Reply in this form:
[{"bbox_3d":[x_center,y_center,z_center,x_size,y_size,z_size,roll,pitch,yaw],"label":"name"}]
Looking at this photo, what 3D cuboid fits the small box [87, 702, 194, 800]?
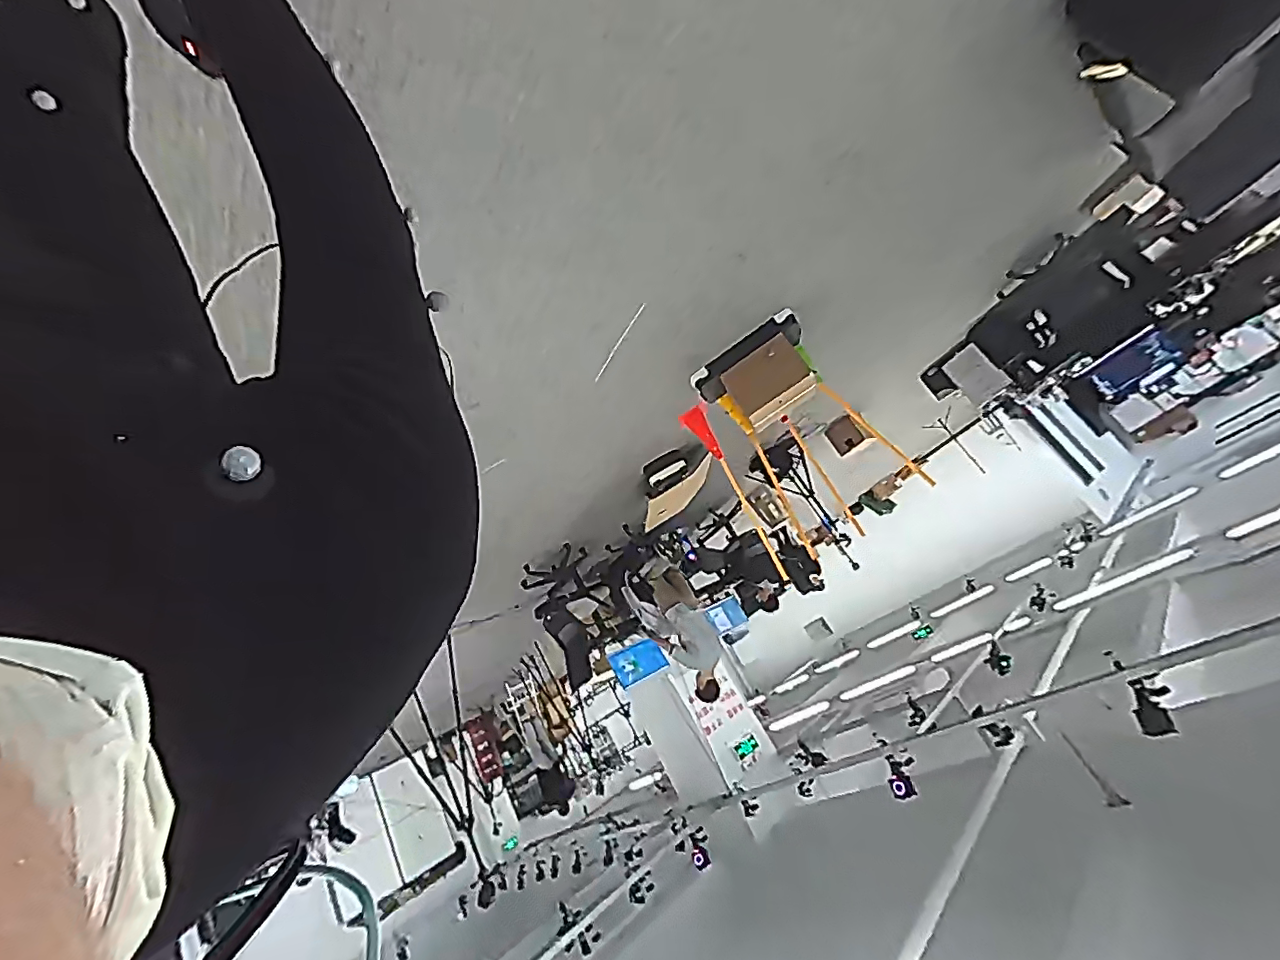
[{"bbox_3d":[-1.322,0.717,1.438,0.168,0.176,0.179,-18,157,-35],"label":"small box"}]
